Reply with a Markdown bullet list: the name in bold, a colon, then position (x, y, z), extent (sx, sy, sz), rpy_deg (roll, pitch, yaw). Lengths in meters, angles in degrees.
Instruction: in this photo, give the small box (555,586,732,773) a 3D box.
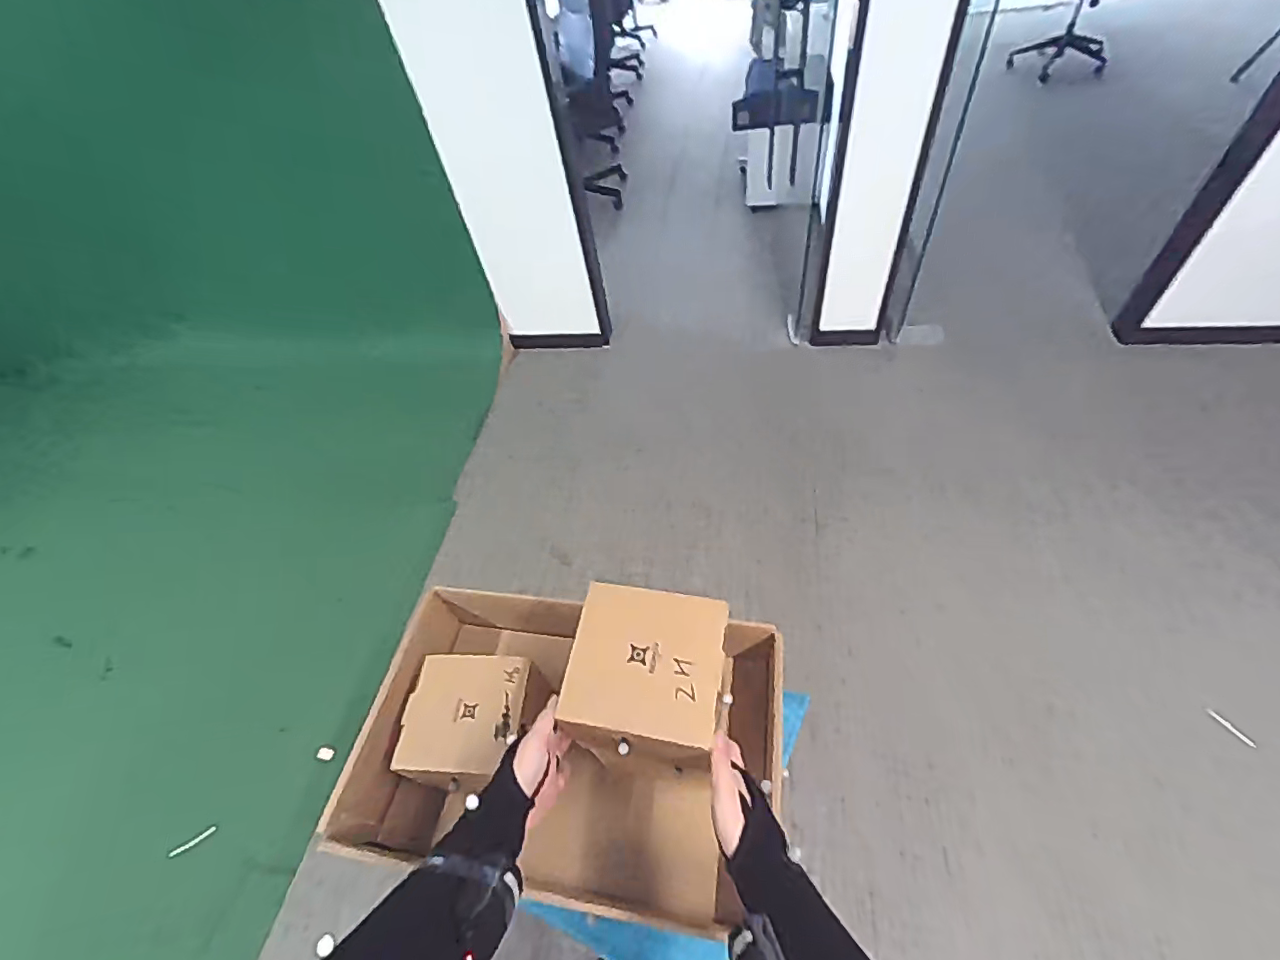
- **small box**: position (0.015, 0.253, 0.678), extent (0.179, 0.176, 0.168), rpy_deg (7, 56, 11)
